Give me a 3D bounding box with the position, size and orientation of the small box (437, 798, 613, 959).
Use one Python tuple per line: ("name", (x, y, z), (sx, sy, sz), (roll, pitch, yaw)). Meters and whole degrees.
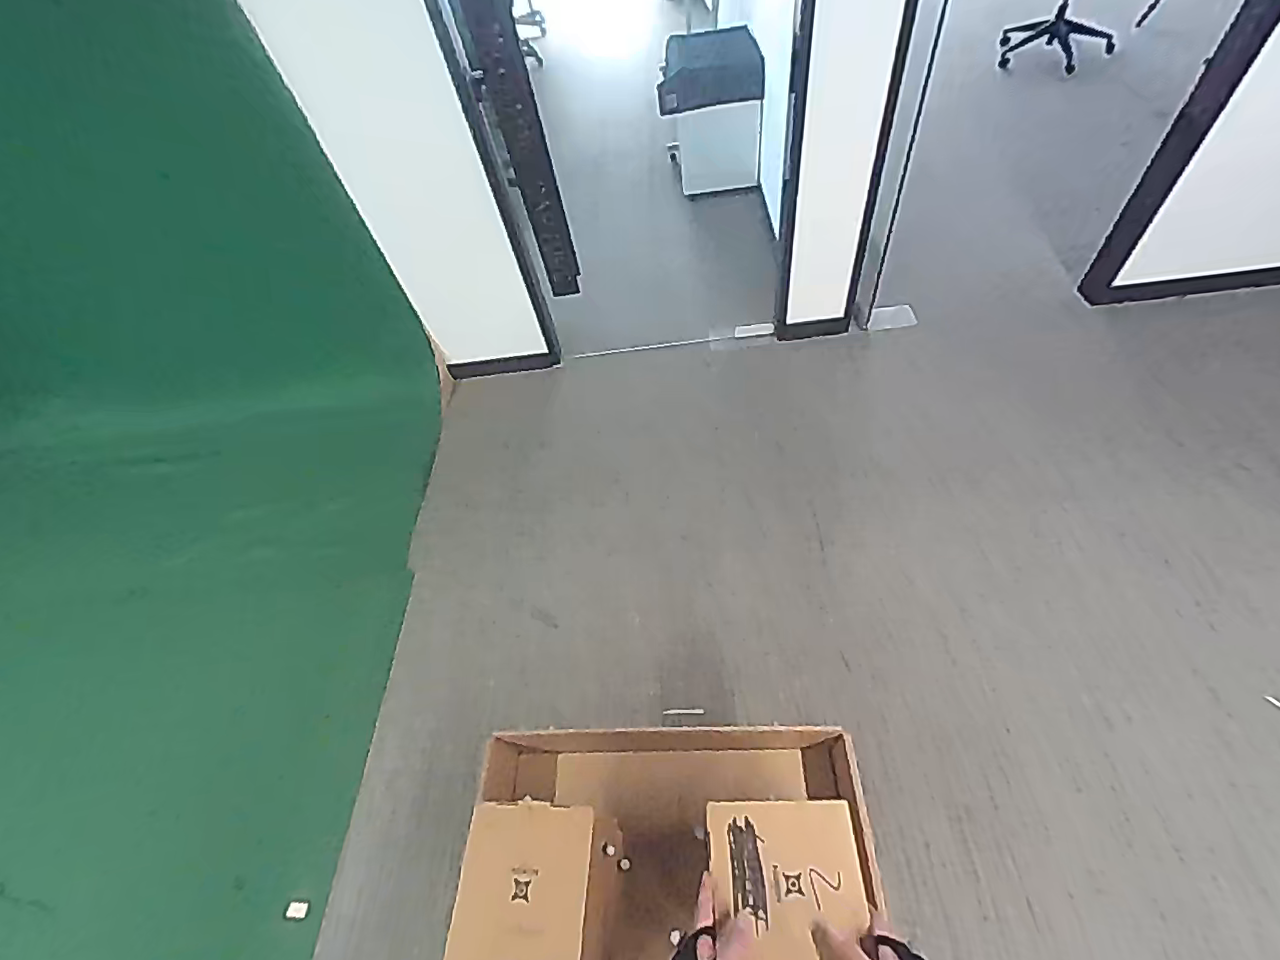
("small box", (-0.135, 0.538, 0.715), (0.168, 0.176, 0.179), (-2, 53, 9))
